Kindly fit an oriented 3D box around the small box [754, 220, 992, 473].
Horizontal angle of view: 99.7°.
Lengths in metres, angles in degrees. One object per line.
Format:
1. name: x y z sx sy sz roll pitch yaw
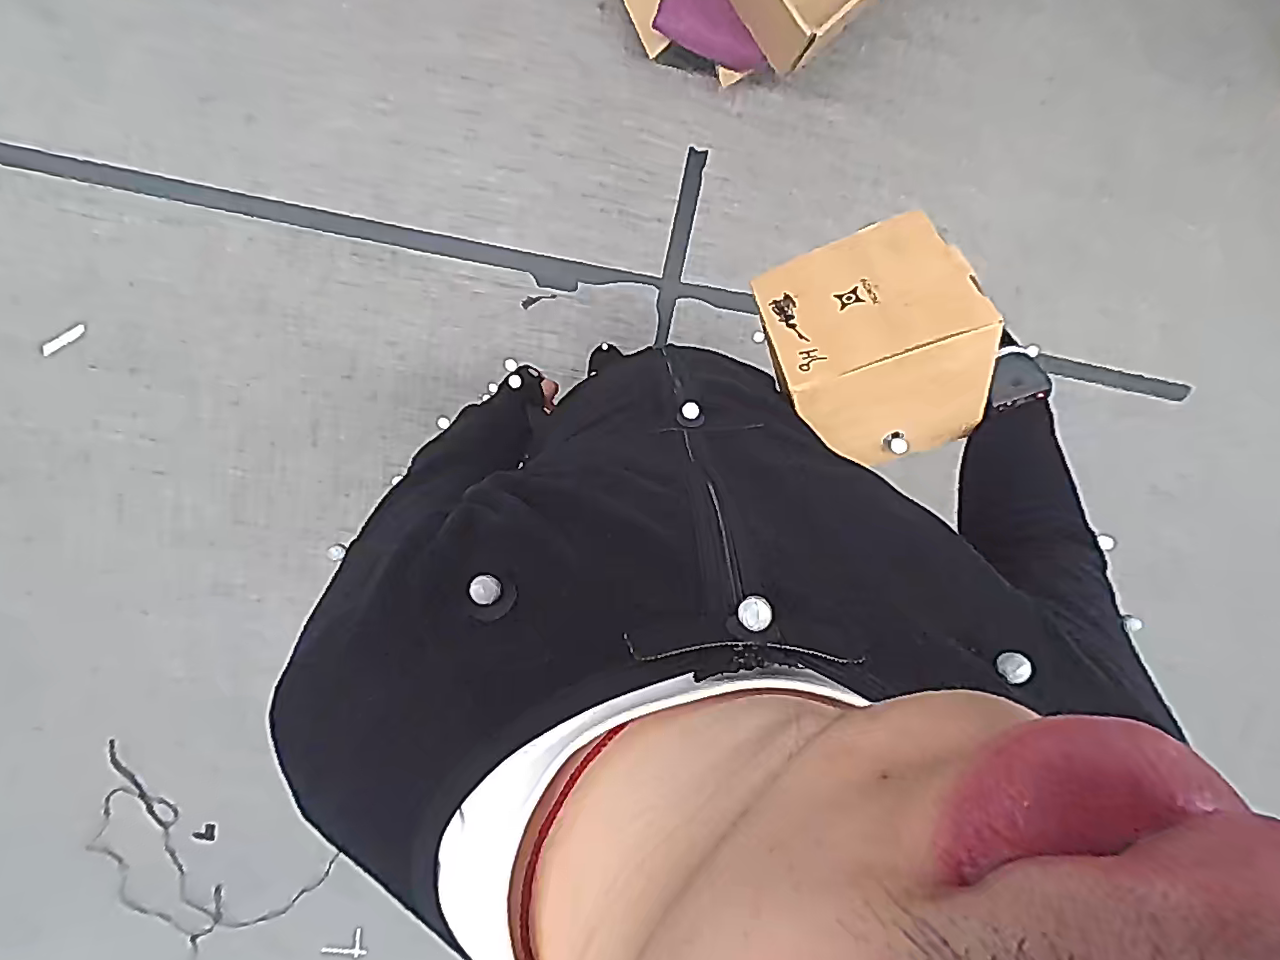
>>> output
1. small box: 0.239 -0.133 0.585 0.179 0.168 0.176 -18 144 14
